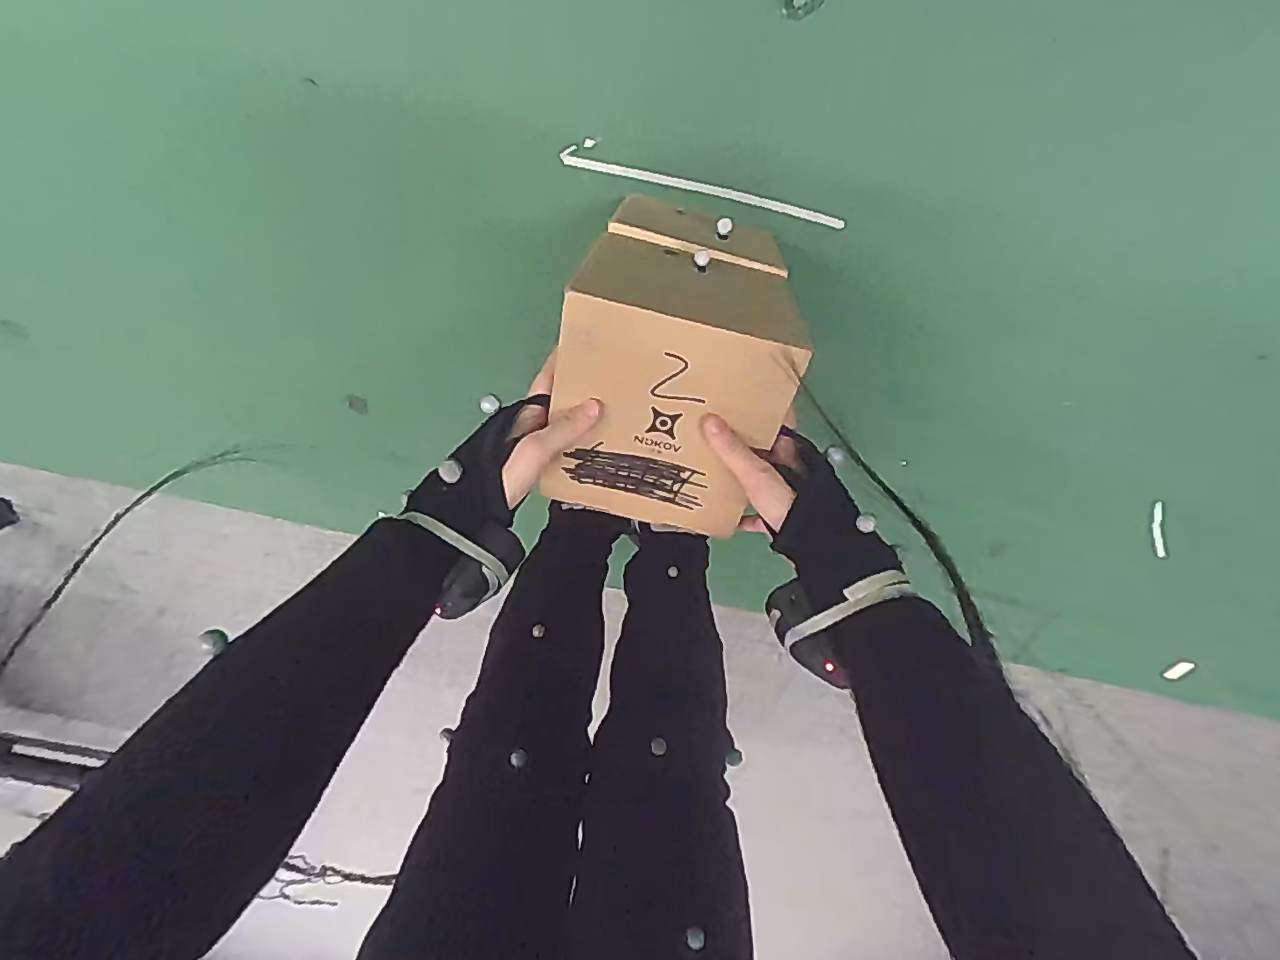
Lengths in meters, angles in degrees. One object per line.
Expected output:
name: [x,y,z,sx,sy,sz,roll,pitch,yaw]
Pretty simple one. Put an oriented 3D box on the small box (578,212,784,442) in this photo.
small box: [0.038,-0.173,0.593,0.168,0.176,0.179,14,127,-4]
